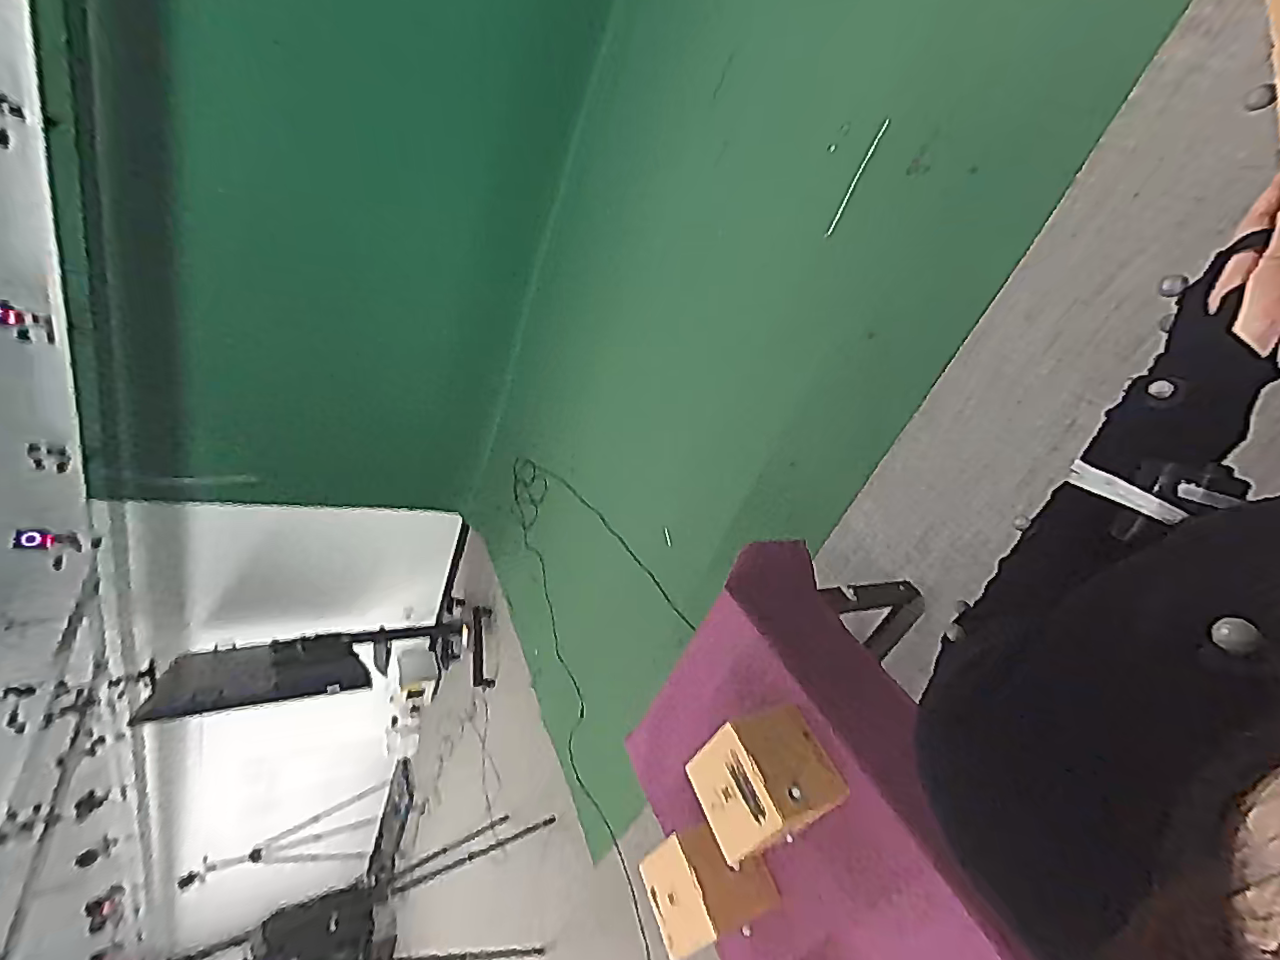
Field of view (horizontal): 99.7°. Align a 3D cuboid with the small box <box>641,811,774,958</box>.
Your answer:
[{"bbox_3d":[0.135,0.779,1.055,0.179,0.176,0.168,-59,41,32],"label":"small box"}]
